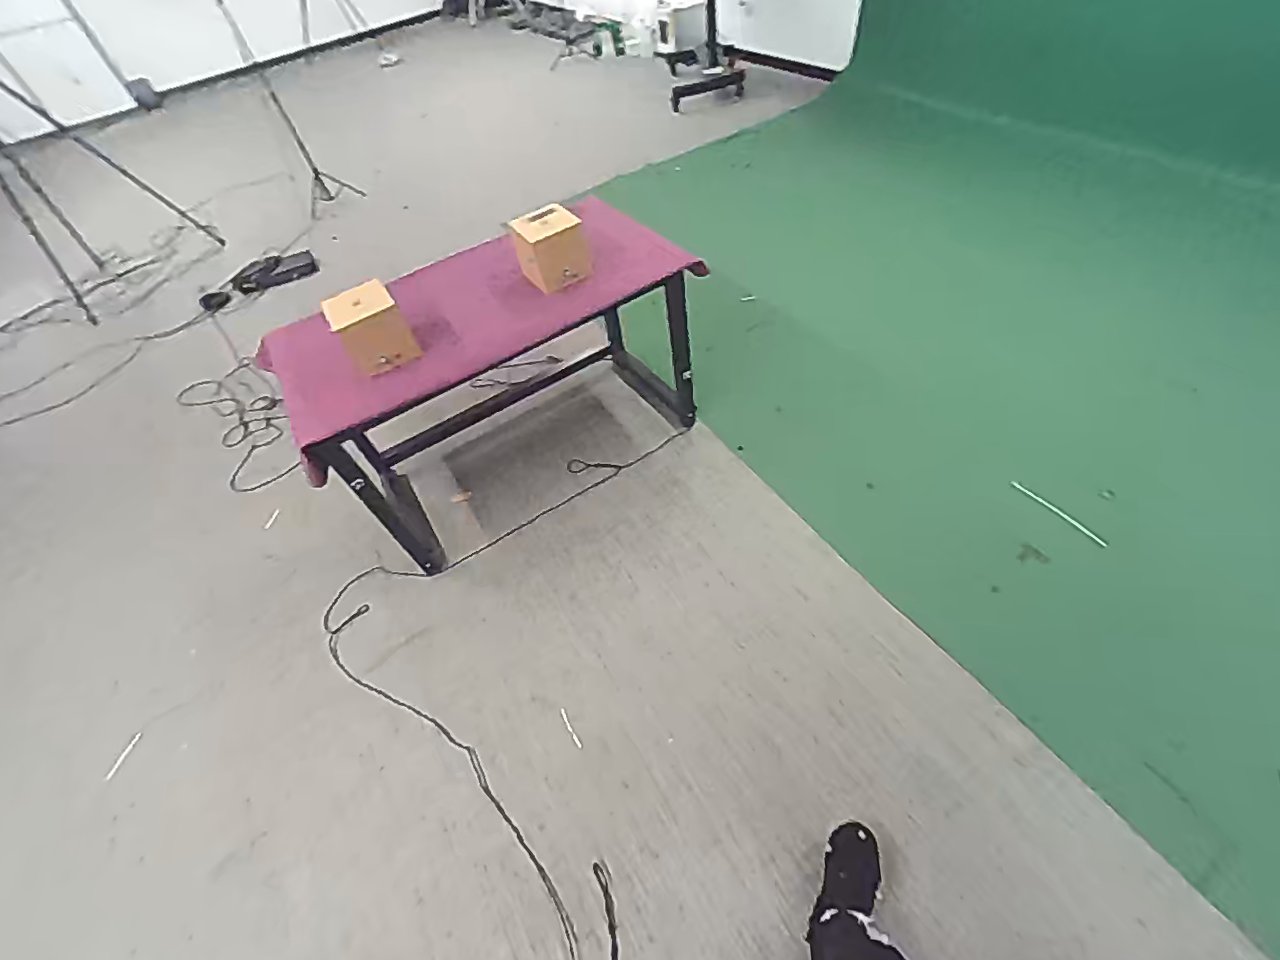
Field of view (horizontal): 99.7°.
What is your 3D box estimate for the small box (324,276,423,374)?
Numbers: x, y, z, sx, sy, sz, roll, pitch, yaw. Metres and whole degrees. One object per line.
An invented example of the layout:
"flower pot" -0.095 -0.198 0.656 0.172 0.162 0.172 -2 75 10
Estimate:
"small box" -0.723 -0.420 1.476 0.168 0.176 0.179 -30 53 -15
